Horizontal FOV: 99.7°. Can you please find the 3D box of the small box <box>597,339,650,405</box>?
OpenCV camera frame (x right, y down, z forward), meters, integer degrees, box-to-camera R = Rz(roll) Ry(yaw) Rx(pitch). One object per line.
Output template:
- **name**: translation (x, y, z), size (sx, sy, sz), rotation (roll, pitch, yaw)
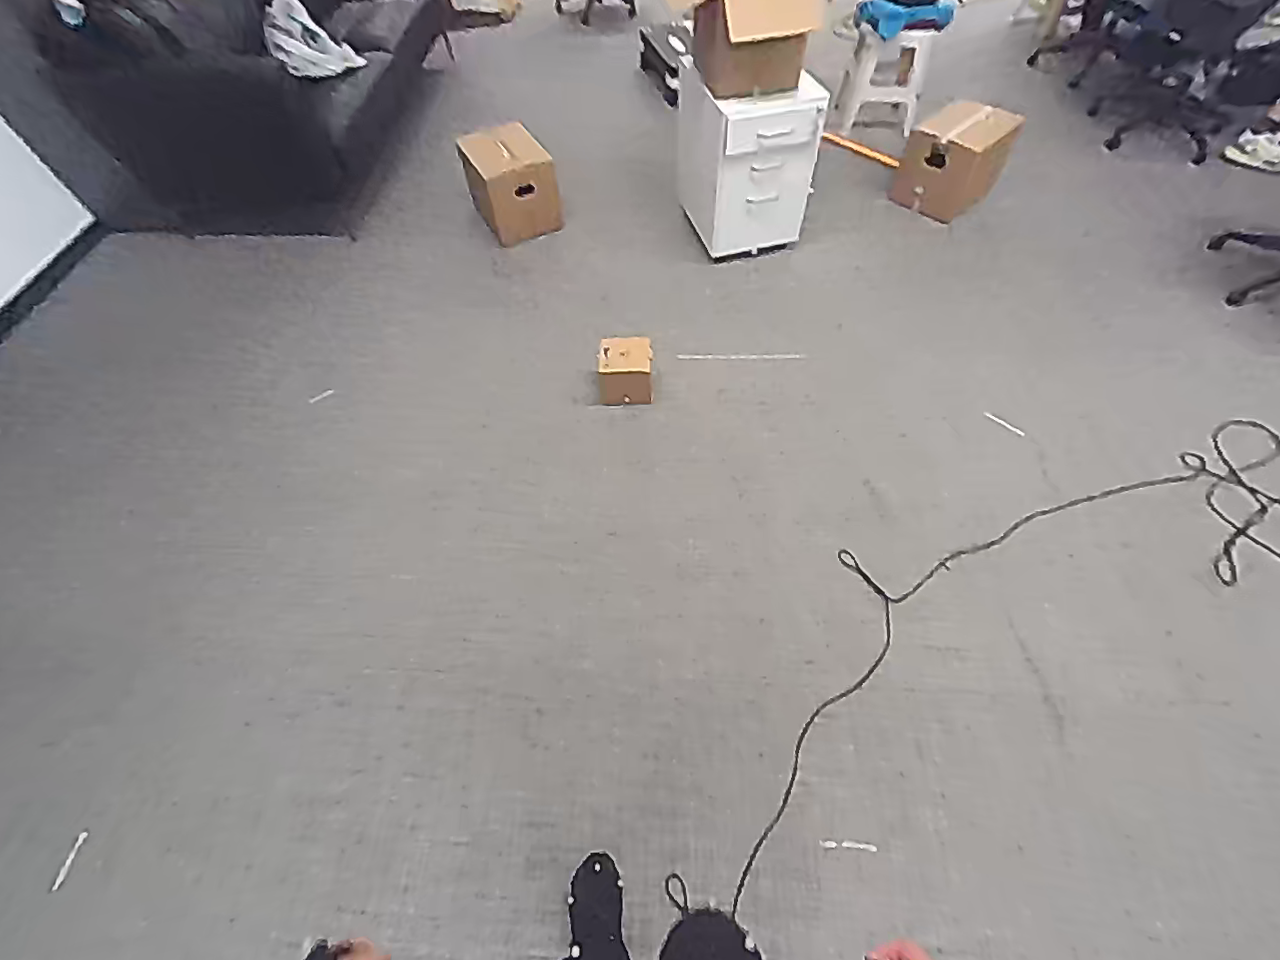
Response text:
- **small box**: translation (-0.053, -0.379, 1.906), size (0.179, 0.176, 0.168), rotation (-1, 56, 2)
